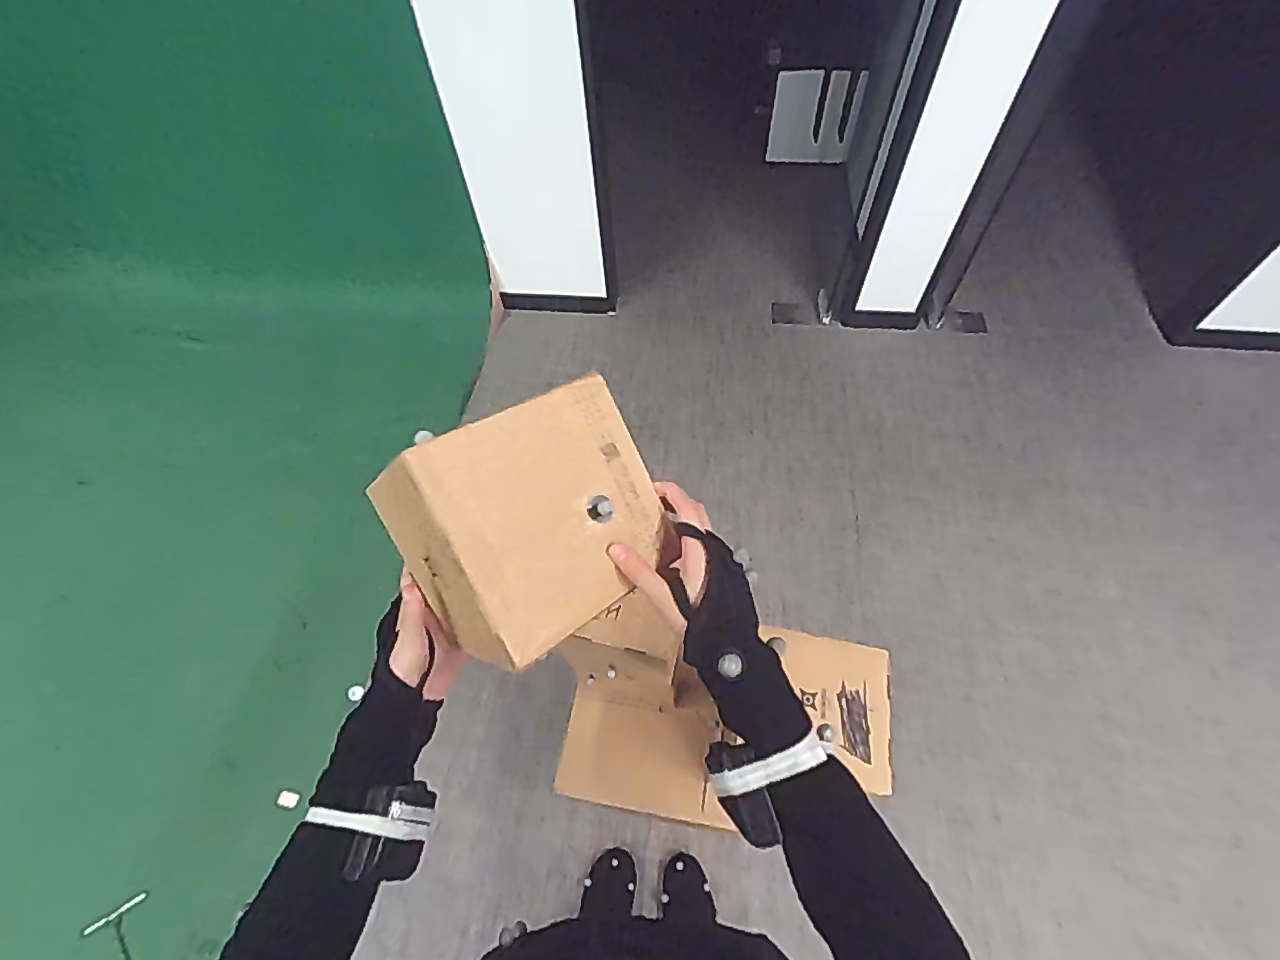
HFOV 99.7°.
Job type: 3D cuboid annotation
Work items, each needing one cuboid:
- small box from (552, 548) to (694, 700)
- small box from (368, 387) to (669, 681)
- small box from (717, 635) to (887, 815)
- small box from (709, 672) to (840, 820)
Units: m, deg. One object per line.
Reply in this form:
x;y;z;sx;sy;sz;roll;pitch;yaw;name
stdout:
-0.020;0.204;0.808;0.168;0.176;0.179;11;57;11;small box
-0.106;0.041;0.465;0.176;0.179;0.168;-30;96;-32;small box
0.205;0.325;0.709;0.179;0.176;0.168;10;56;9;small box
0.206;0.419;0.843;0.179;0.176;0.168;9;58;9;small box
